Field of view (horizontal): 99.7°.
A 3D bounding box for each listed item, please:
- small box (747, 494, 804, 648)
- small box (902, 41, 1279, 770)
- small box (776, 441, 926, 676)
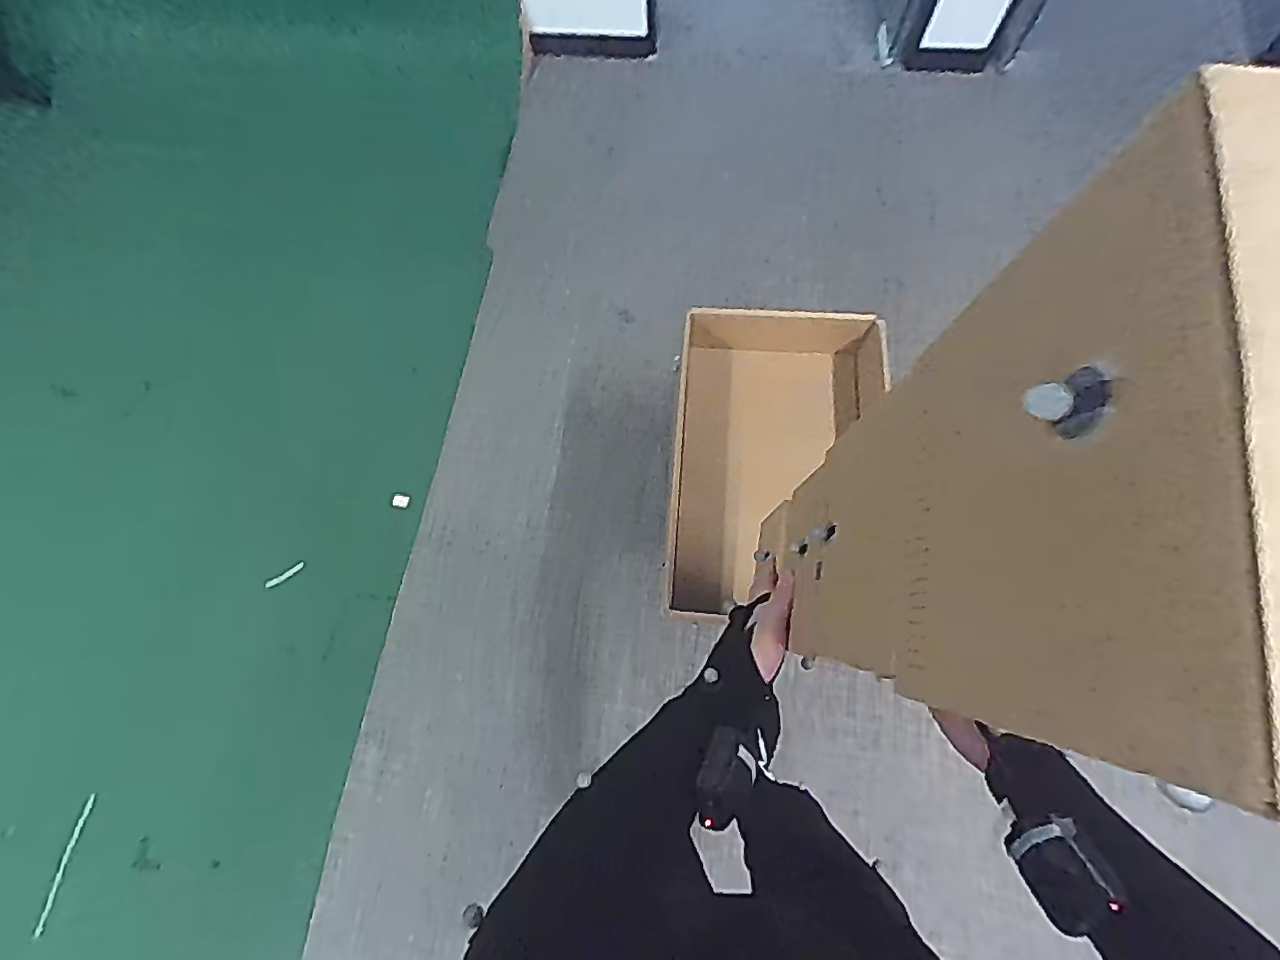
[{"bbox_3d":[0.236,0.126,0.666,0.179,0.176,0.168,9,77,4],"label":"small box"},{"bbox_3d":[0.210,0.004,0.189,0.168,0.176,0.179,9,77,5],"label":"small box"},{"bbox_3d":[0.232,0.083,0.508,0.168,0.176,0.179,11,76,4],"label":"small box"}]
